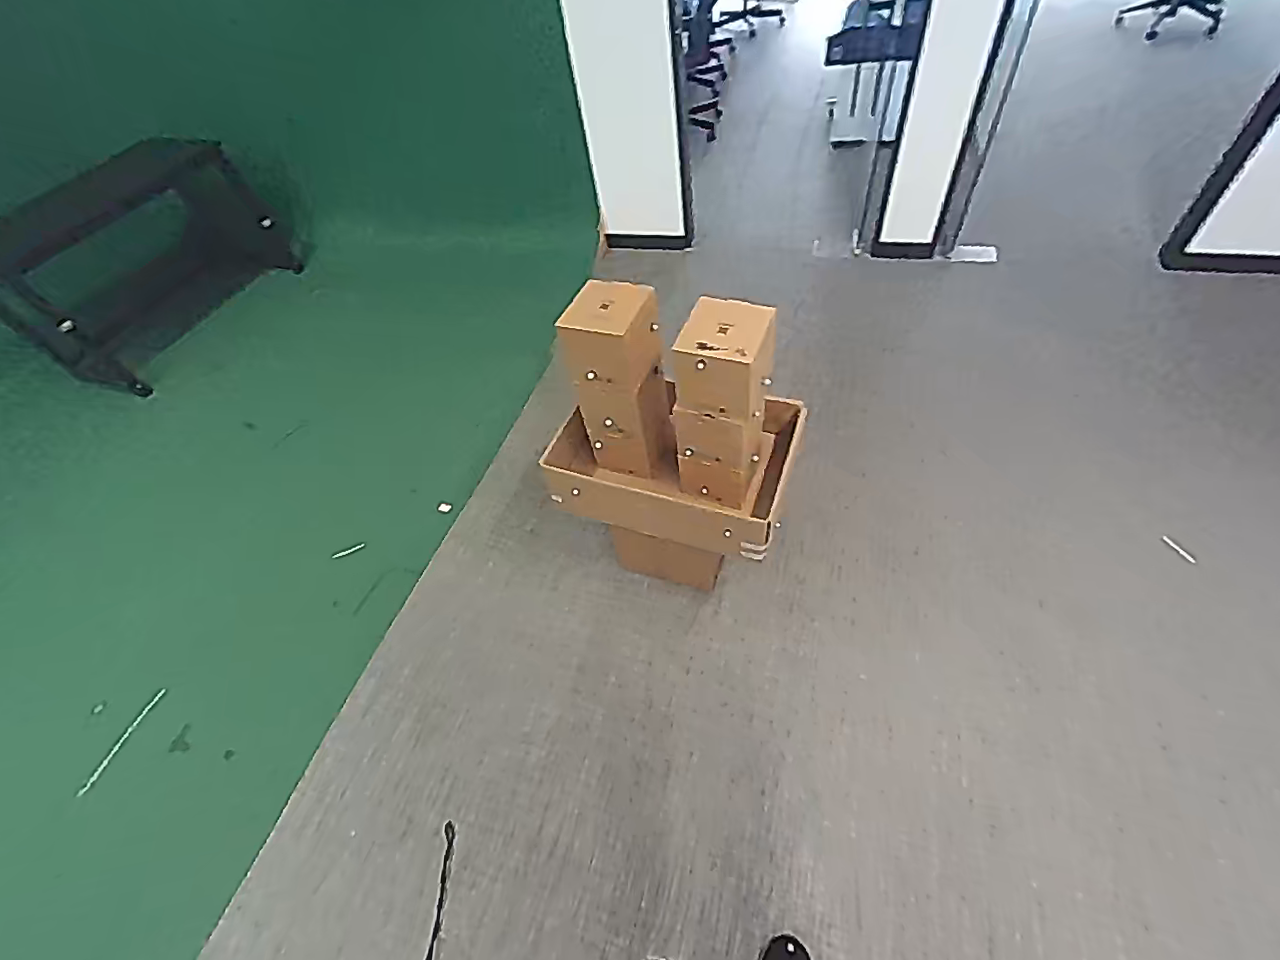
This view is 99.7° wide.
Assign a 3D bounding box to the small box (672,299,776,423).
[{"bbox_3d":[0.178,-0.250,1.140,0.168,0.176,0.179,16,57,20],"label":"small box"}]

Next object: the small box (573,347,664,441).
[{"bbox_3d":[-0.046,-0.228,1.366,0.168,0.176,0.179,13,56,20],"label":"small box"}]

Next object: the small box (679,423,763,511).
[{"bbox_3d":[0.209,-0.050,1.398,0.168,0.176,0.179,15,58,20],"label":"small box"}]

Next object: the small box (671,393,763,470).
[{"bbox_3d":[0.188,-0.149,1.269,0.168,0.176,0.179,16,57,20],"label":"small box"}]

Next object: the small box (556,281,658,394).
[{"bbox_3d":[-0.066,-0.327,1.238,0.168,0.176,0.179,14,56,21],"label":"small box"}]
